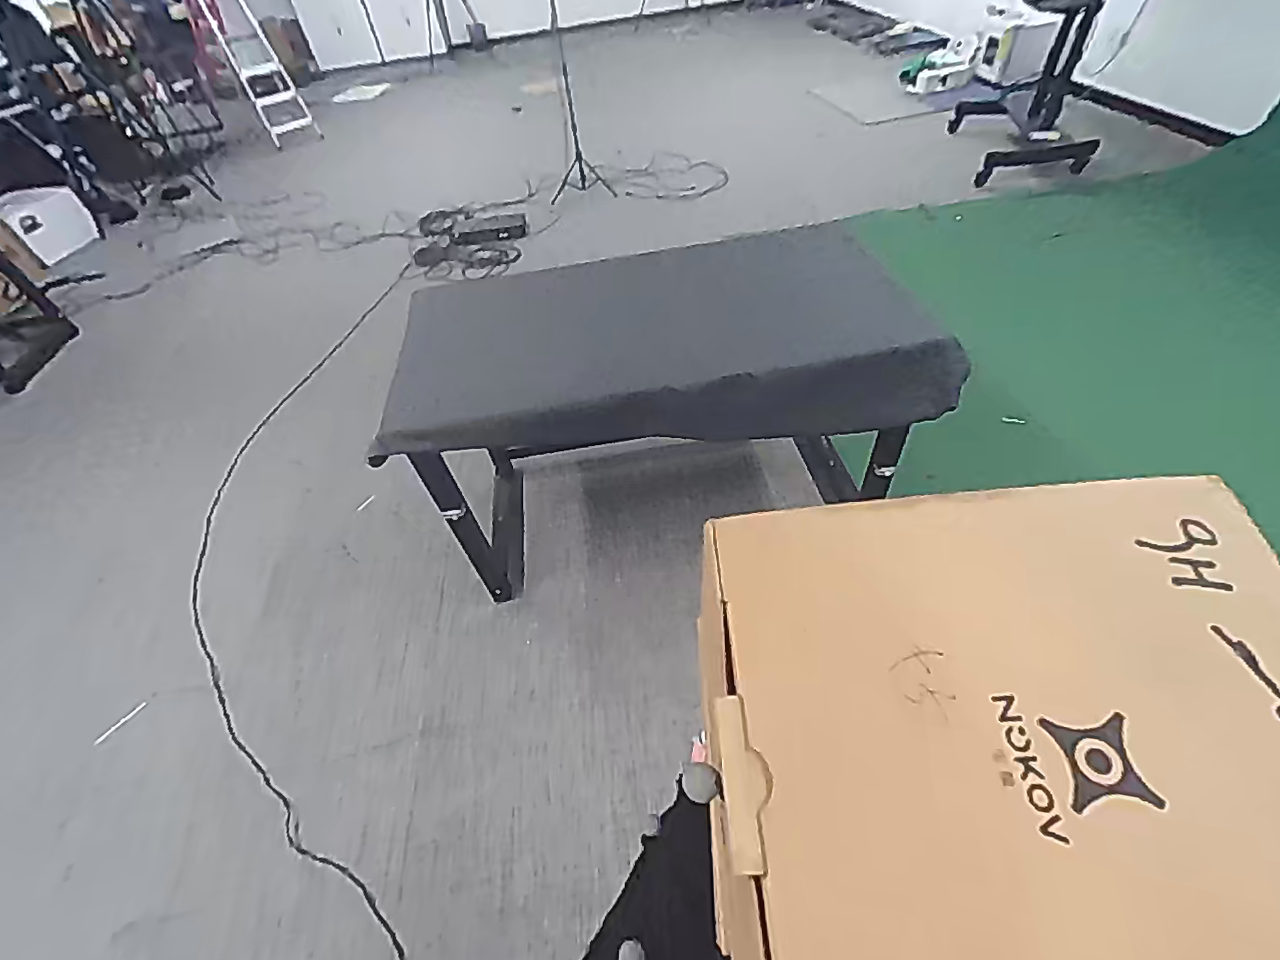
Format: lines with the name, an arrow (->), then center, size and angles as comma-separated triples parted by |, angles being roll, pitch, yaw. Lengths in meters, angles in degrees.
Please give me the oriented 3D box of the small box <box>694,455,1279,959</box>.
small box -> 0.121, 0.111, 0.235 | 0.179, 0.176, 0.168 | -7, 59, 1
